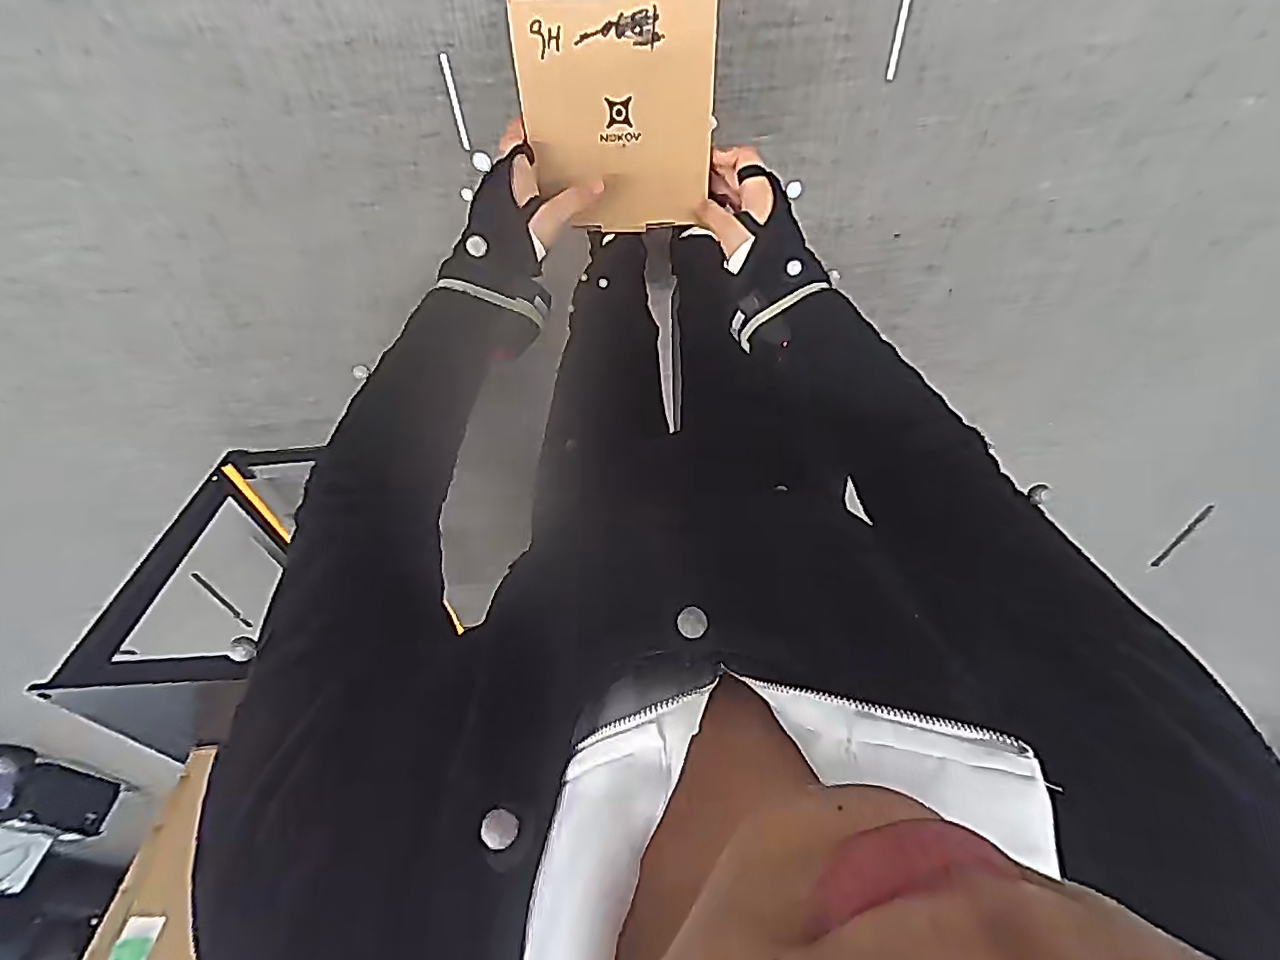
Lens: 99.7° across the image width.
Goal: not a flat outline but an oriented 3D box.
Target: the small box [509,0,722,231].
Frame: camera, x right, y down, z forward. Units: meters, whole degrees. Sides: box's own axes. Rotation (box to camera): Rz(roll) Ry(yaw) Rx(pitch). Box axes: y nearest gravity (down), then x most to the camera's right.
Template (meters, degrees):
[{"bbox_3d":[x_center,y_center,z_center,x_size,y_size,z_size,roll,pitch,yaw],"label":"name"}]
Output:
[{"bbox_3d":[-0.017,-0.363,0.523,0.168,0.176,0.179,-1,135,1],"label":"small box"}]
